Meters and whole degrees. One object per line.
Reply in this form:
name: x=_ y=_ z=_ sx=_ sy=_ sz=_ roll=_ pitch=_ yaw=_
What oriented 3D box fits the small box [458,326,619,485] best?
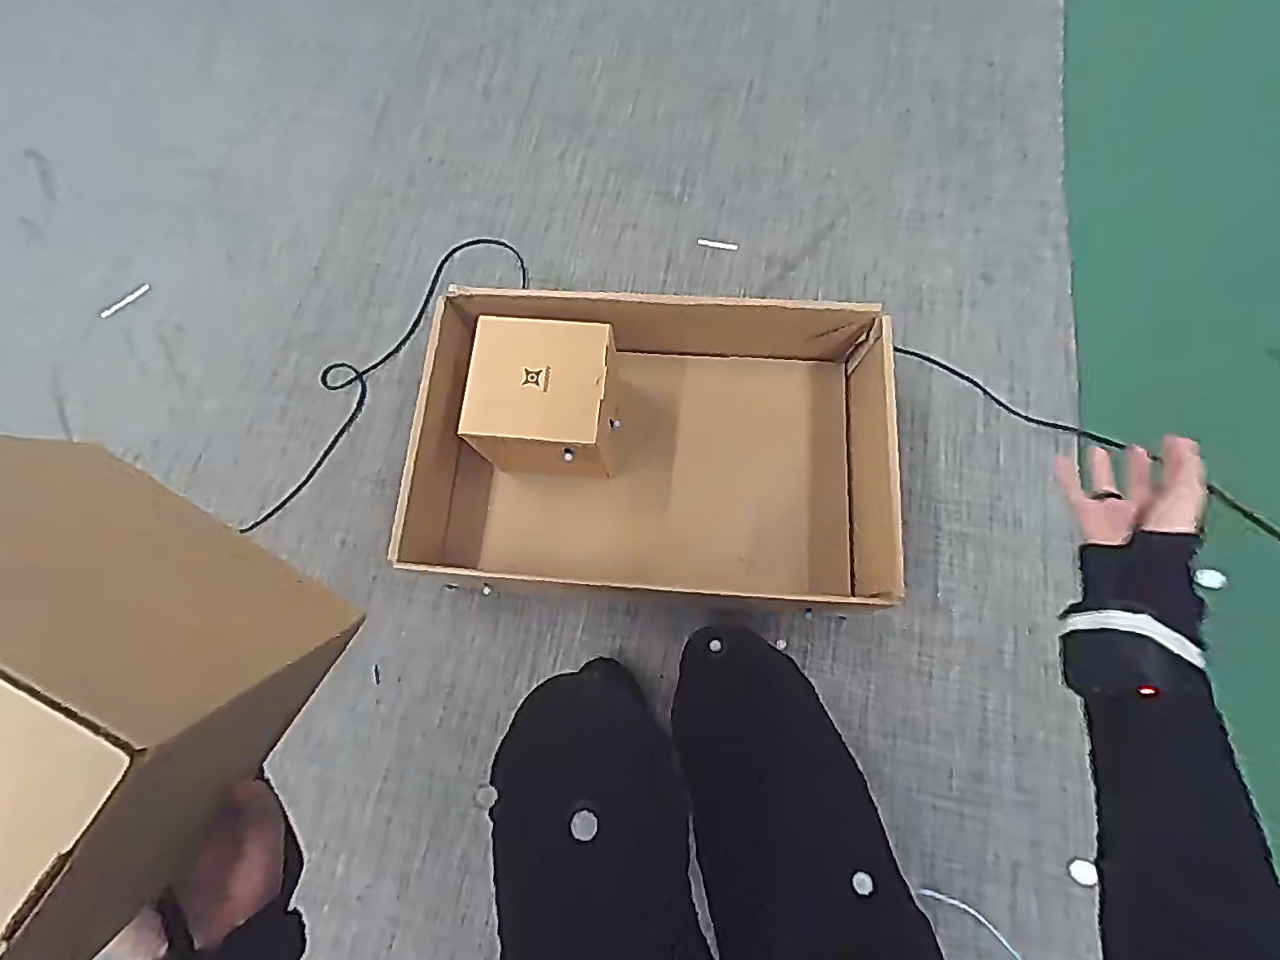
small box: x=-0.129 y=-0.096 z=0.757 sx=0.179 sy=0.176 sz=0.168 roll=4 pitch=75 yaw=3
